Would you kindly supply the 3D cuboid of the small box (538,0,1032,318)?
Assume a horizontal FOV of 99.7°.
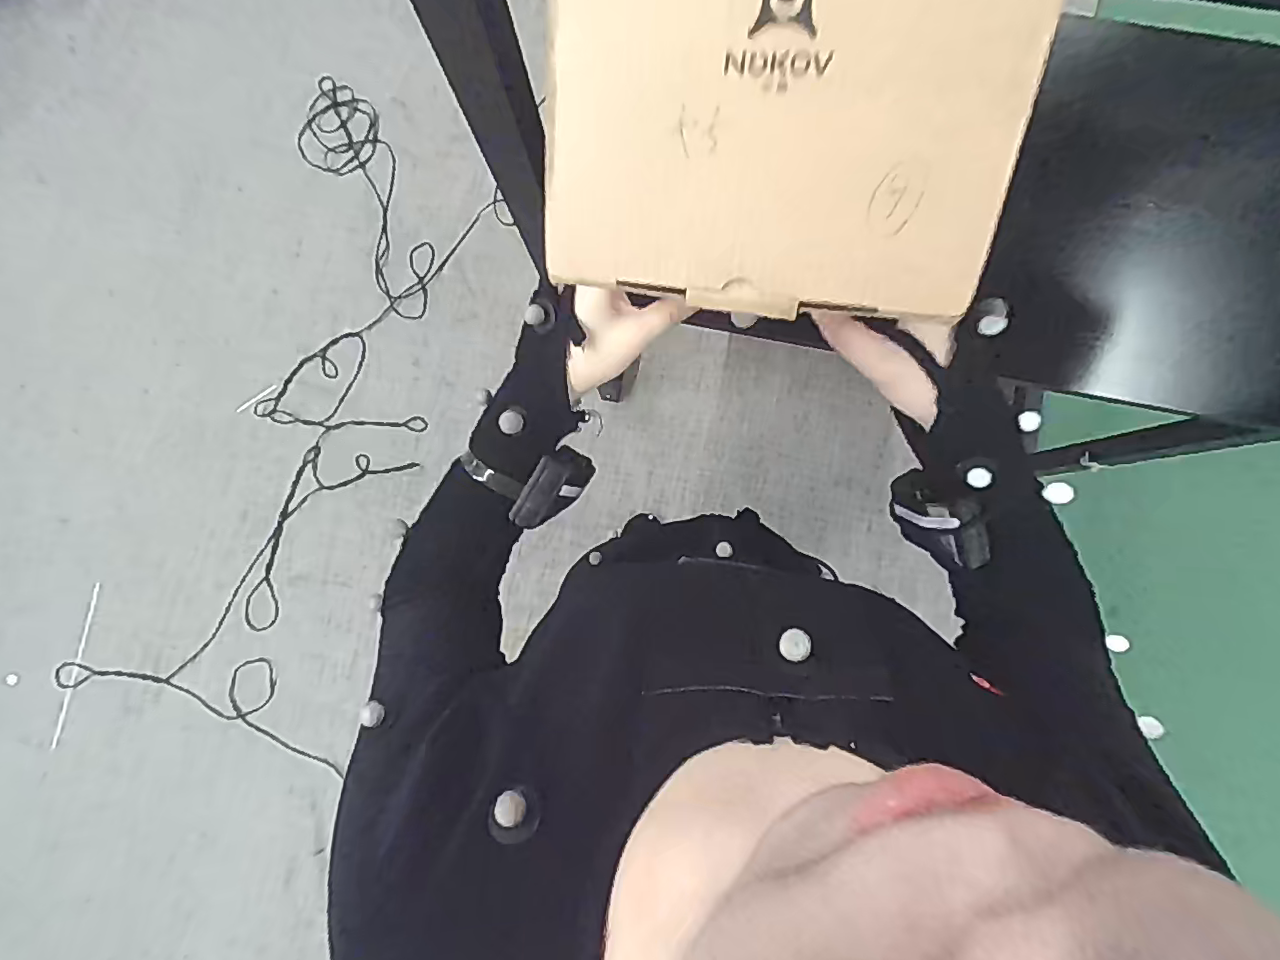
[{"bbox_3d":[0.061,-0.181,0.258,0.168,0.176,0.179,9,112,11],"label":"small box"}]
